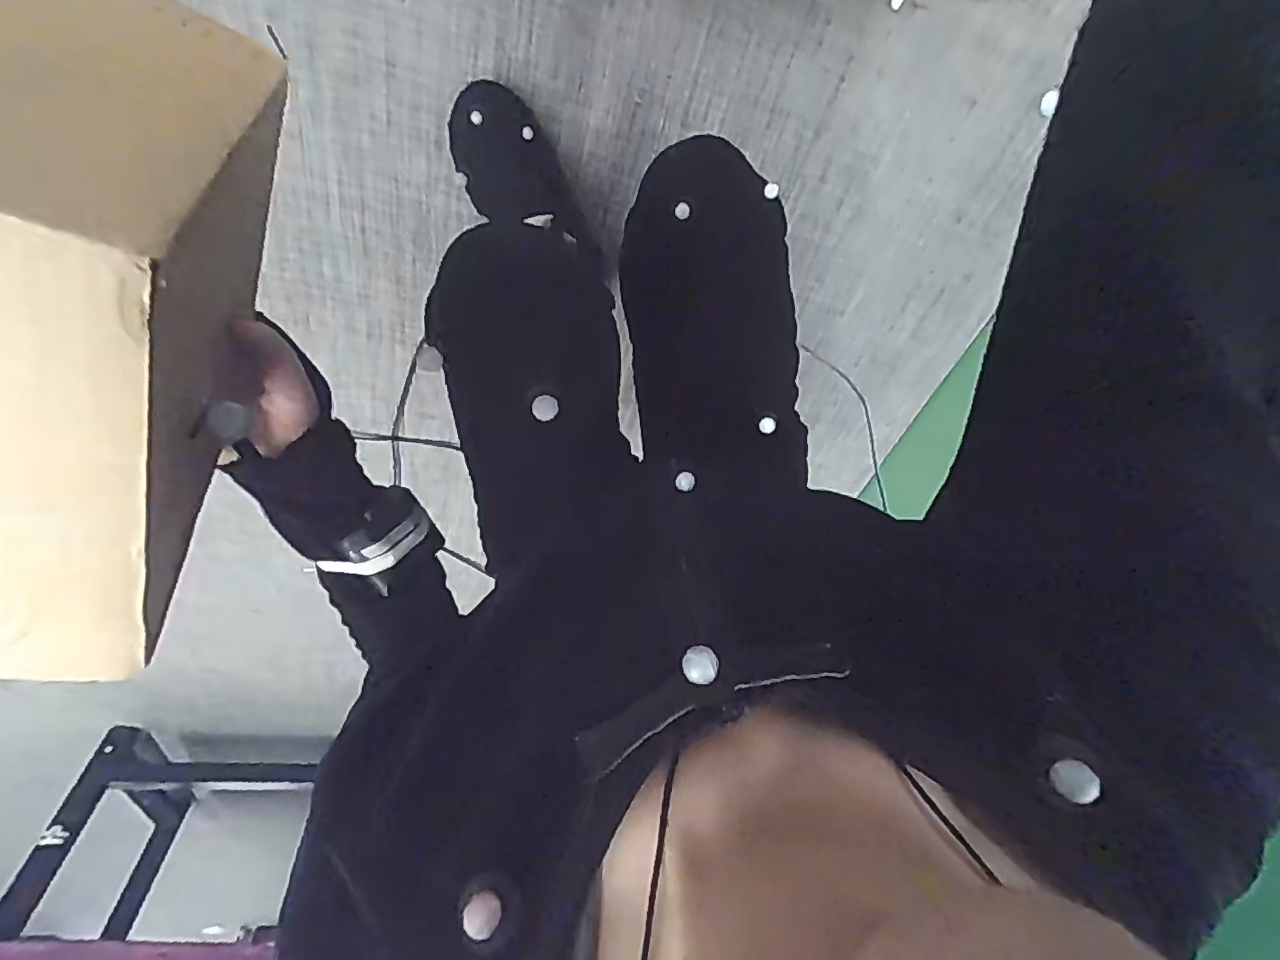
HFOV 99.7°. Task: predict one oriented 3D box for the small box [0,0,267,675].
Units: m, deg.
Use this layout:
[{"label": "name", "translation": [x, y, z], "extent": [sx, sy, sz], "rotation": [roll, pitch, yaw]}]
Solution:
[{"label": "small box", "translation": [-0.222, -0.065, 0.148], "extent": [0.168, 0.176, 0.179], "rotation": [13, 130, -34]}]
